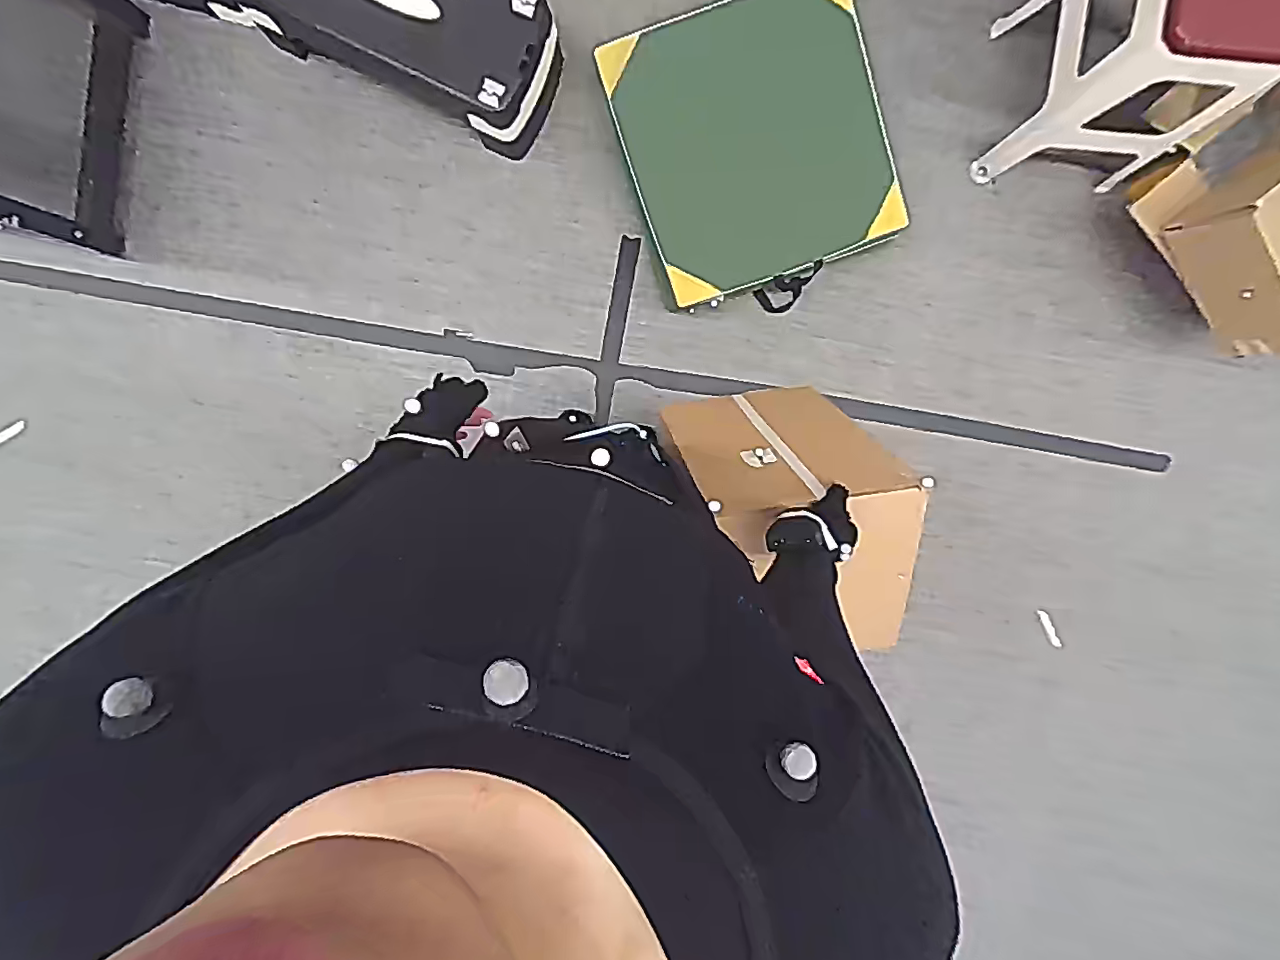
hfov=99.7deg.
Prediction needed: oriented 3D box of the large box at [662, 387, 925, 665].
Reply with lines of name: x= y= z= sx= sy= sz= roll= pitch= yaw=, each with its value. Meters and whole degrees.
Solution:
large box: x=0.235 y=0.061 z=0.993 sx=0.320 sy=0.408 sz=0.320 roll=-9 pitch=122 yaw=-4
